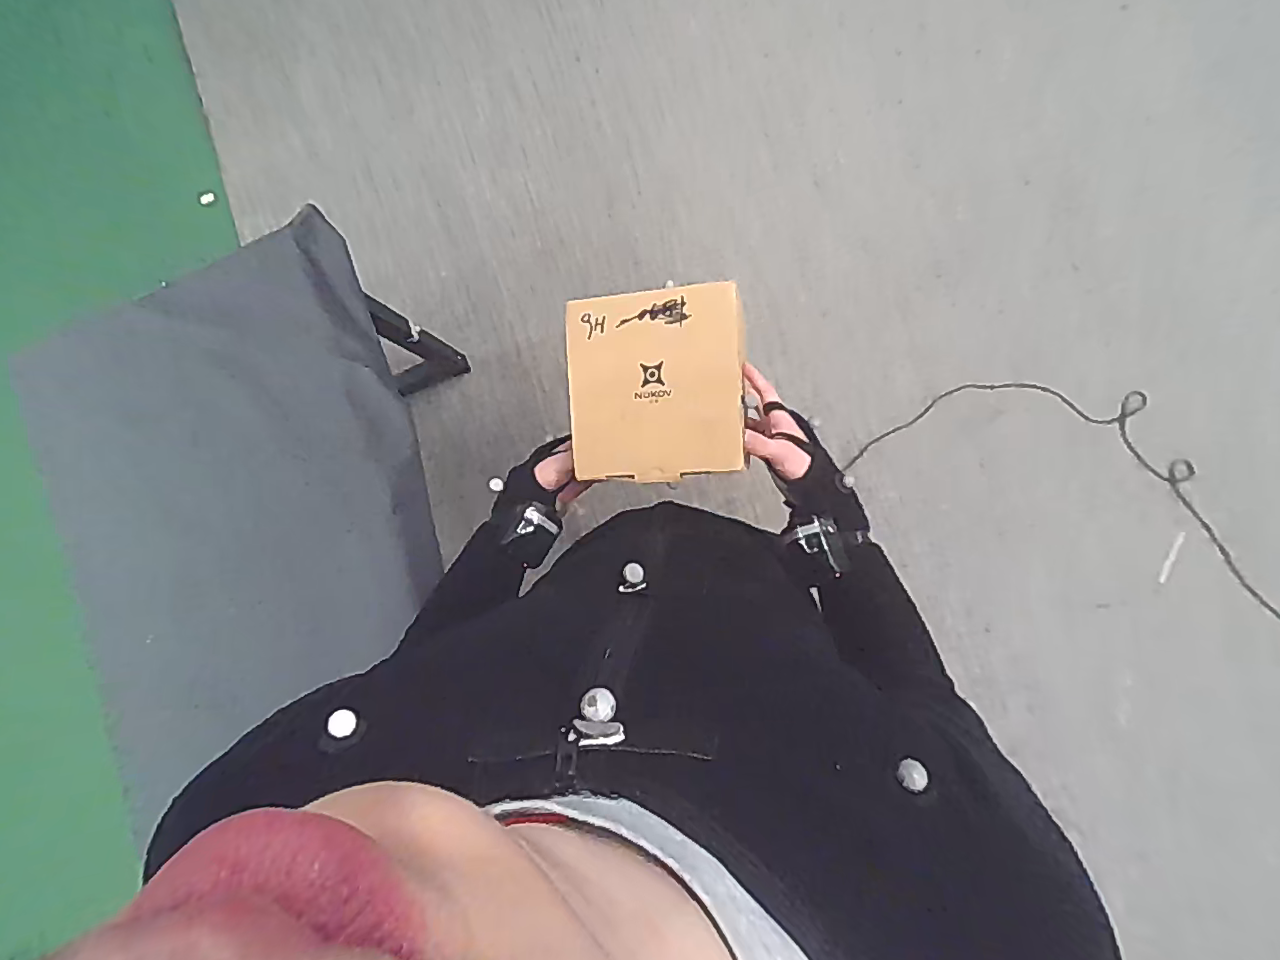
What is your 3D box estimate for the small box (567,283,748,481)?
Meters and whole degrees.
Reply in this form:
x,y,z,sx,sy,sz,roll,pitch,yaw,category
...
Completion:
x,y,z,sx,sy,sz,roll,pitch,yaw,category
0.030,-0.093,0.582,0.168,0.176,0.179,-2,92,12,small box
